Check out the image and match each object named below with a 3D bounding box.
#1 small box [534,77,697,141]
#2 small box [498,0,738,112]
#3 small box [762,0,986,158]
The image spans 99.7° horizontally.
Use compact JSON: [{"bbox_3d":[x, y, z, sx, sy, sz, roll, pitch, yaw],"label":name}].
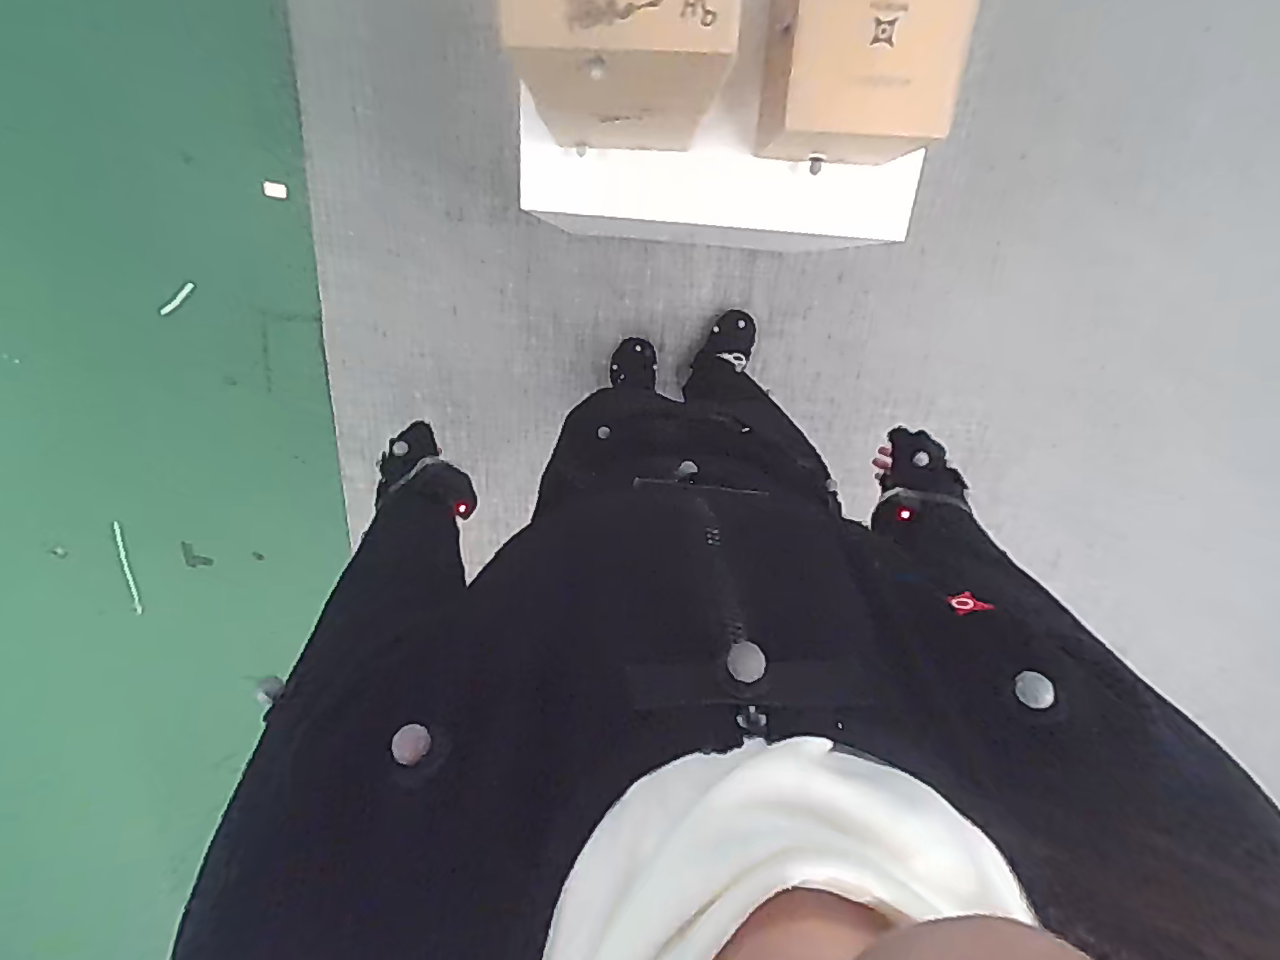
[{"bbox_3d":[-0.016,-0.473,0.568,0.168,0.176,0.179,1,110,0],"label":"small box"},{"bbox_3d":[-0.013,-0.414,0.417,0.168,0.176,0.179,2,111,0],"label":"small box"},{"bbox_3d":[0.229,-0.451,0.561,0.168,0.176,0.179,2,114,1],"label":"small box"}]
